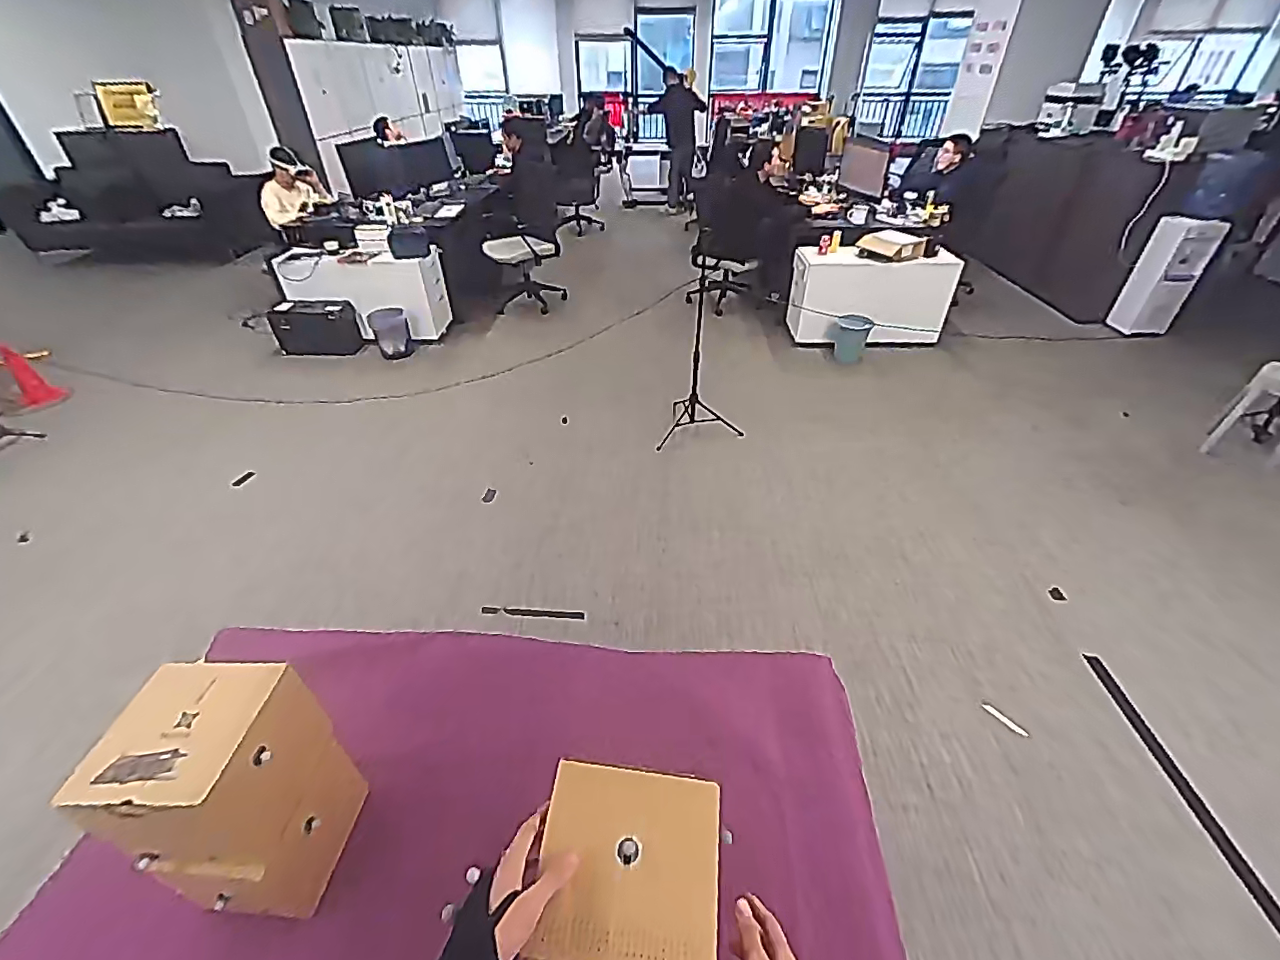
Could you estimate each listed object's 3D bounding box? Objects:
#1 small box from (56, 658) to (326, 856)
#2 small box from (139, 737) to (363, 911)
[{"bbox_3d":[-0.536,0.350,0.684,0.168,0.176,0.179,1,37,1],"label":"small box"},{"bbox_3d":[-0.532,0.487,0.776,0.168,0.176,0.179,4,38,4],"label":"small box"}]
